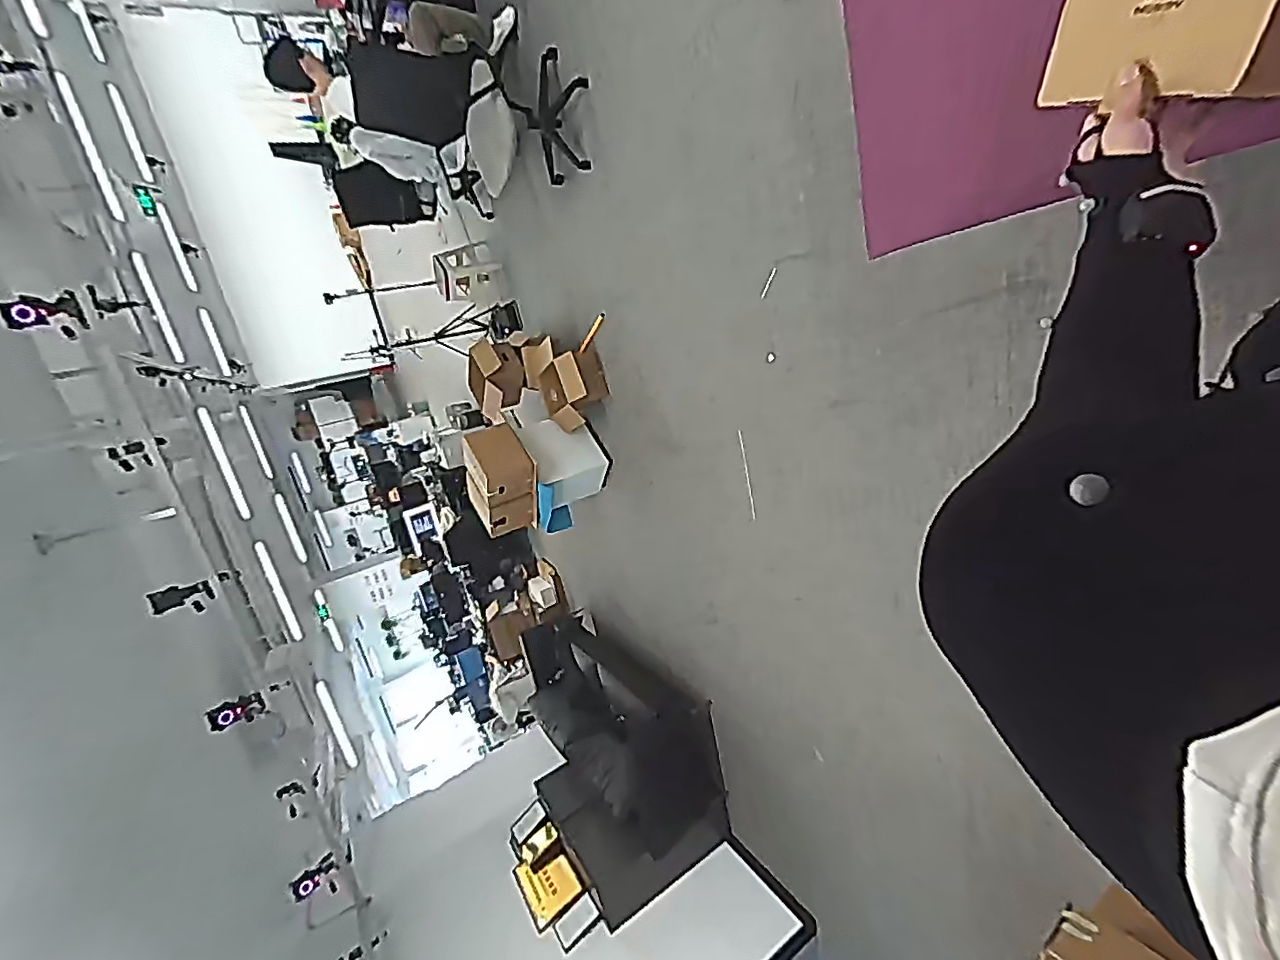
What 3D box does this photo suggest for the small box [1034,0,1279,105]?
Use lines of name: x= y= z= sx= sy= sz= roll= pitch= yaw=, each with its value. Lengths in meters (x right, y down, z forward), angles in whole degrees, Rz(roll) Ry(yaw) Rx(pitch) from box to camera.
small box: x=0.546 y=-0.485 z=0.537 sx=0.168 sy=0.176 sz=0.179 roll=36 pitch=138 yaw=44
